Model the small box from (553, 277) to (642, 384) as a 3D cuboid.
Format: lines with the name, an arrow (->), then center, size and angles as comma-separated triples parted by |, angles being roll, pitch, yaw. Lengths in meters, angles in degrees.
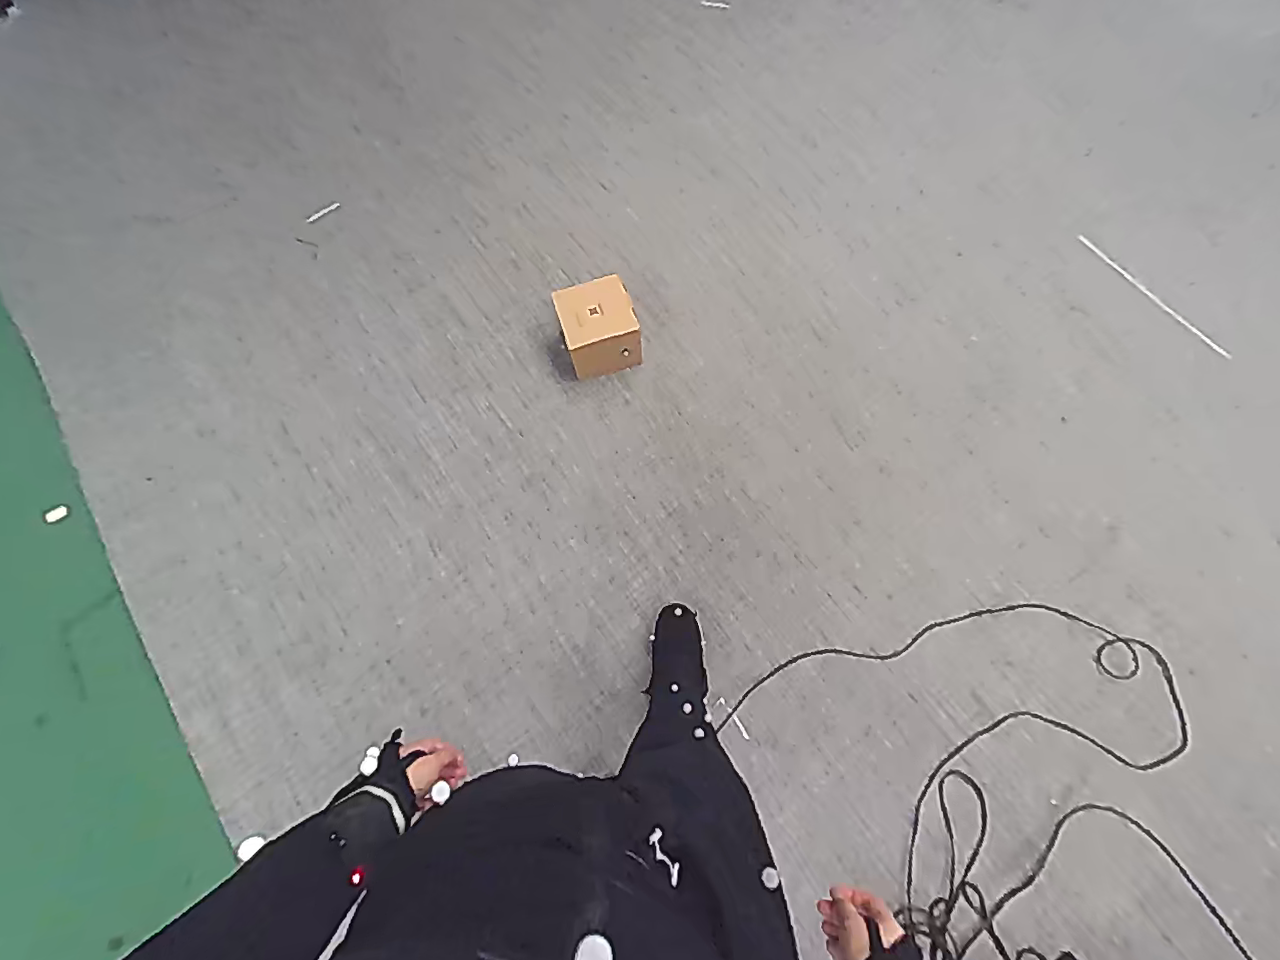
small box -> -0.101, -0.368, 1.354 | 0.179, 0.176, 0.168 | -19, 73, -3
